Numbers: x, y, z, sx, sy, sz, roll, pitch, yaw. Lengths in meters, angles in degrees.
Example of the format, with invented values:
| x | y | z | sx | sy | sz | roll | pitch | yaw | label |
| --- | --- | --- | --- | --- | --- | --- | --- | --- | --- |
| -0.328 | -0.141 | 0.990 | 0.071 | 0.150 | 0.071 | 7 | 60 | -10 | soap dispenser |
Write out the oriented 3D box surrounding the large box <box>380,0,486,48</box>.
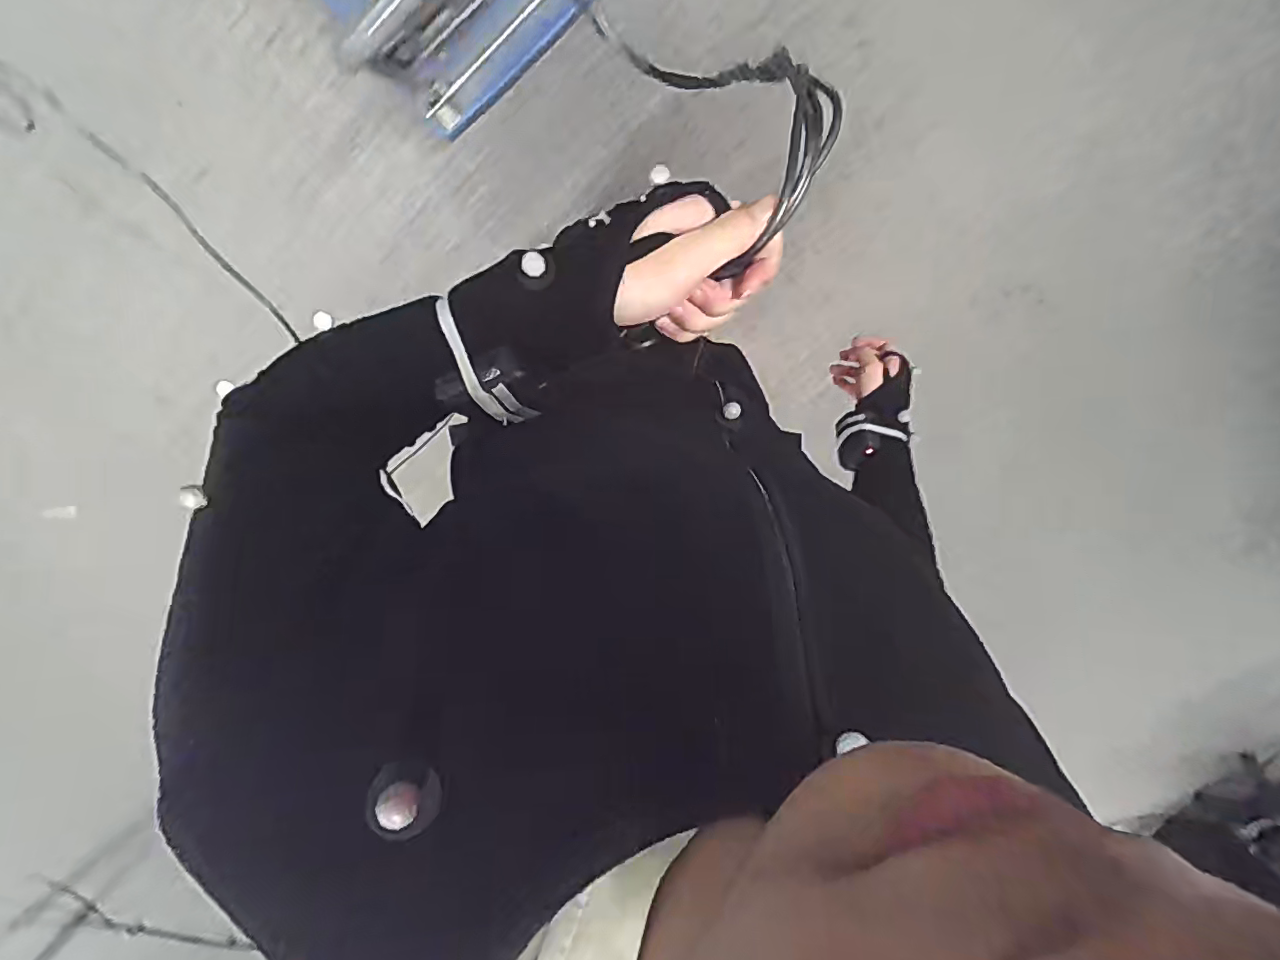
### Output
| x | y | z | sx | sy | sz | roll | pitch | yaw | label |
| --- | --- | --- | --- | --- | --- | --- | --- | --- | --- |
| -0.382 | -0.984 | 0.808 | 0.320 | 0.320 | 0.408 | -35 | 116 | 12 | large box |
